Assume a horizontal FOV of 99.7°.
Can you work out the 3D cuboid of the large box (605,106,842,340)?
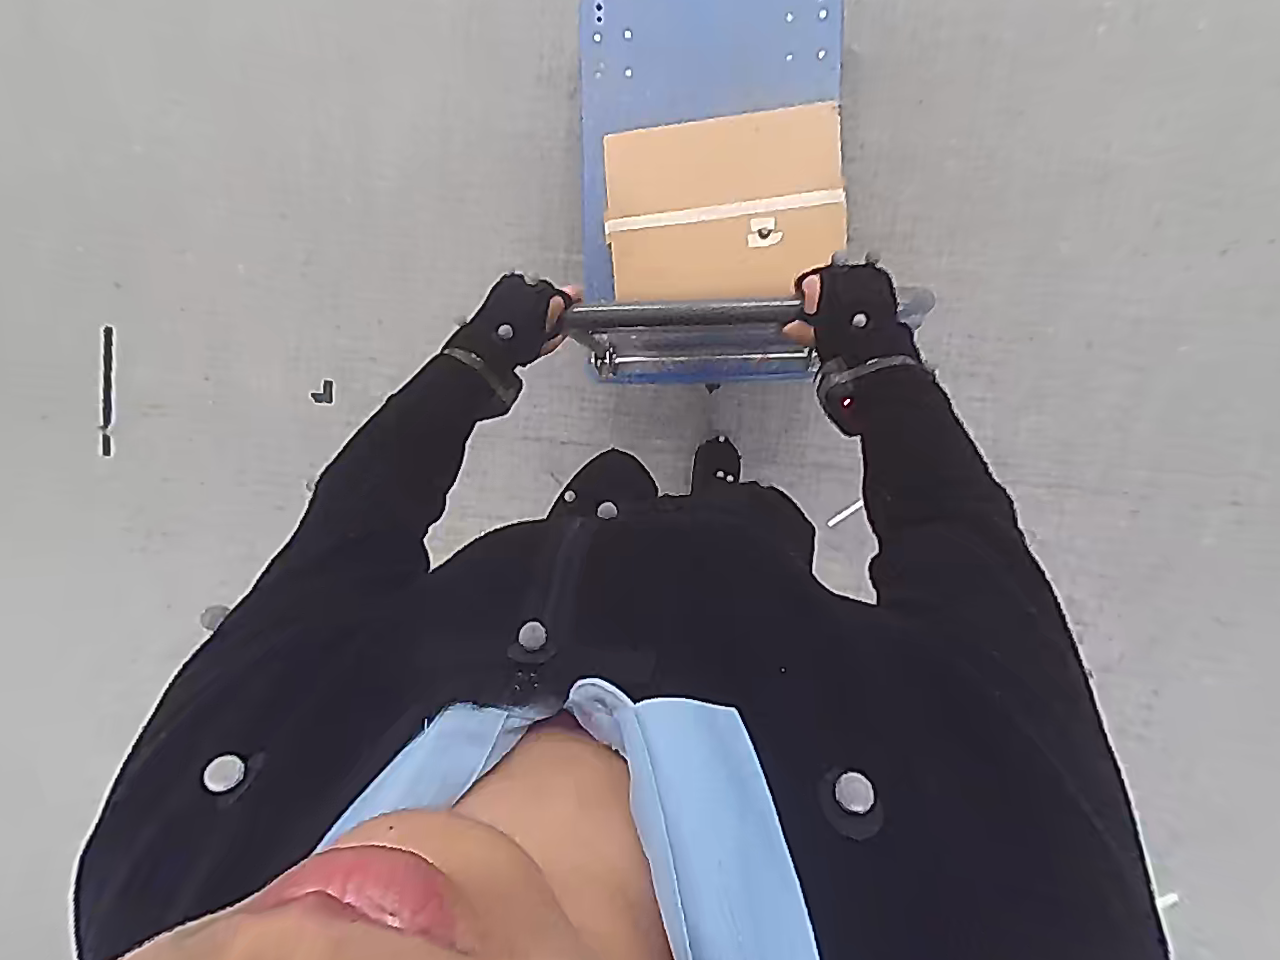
[{"bbox_3d":[0.159,-0.485,1.102,0.408,0.320,0.320,-4,96,6],"label":"large box"}]
